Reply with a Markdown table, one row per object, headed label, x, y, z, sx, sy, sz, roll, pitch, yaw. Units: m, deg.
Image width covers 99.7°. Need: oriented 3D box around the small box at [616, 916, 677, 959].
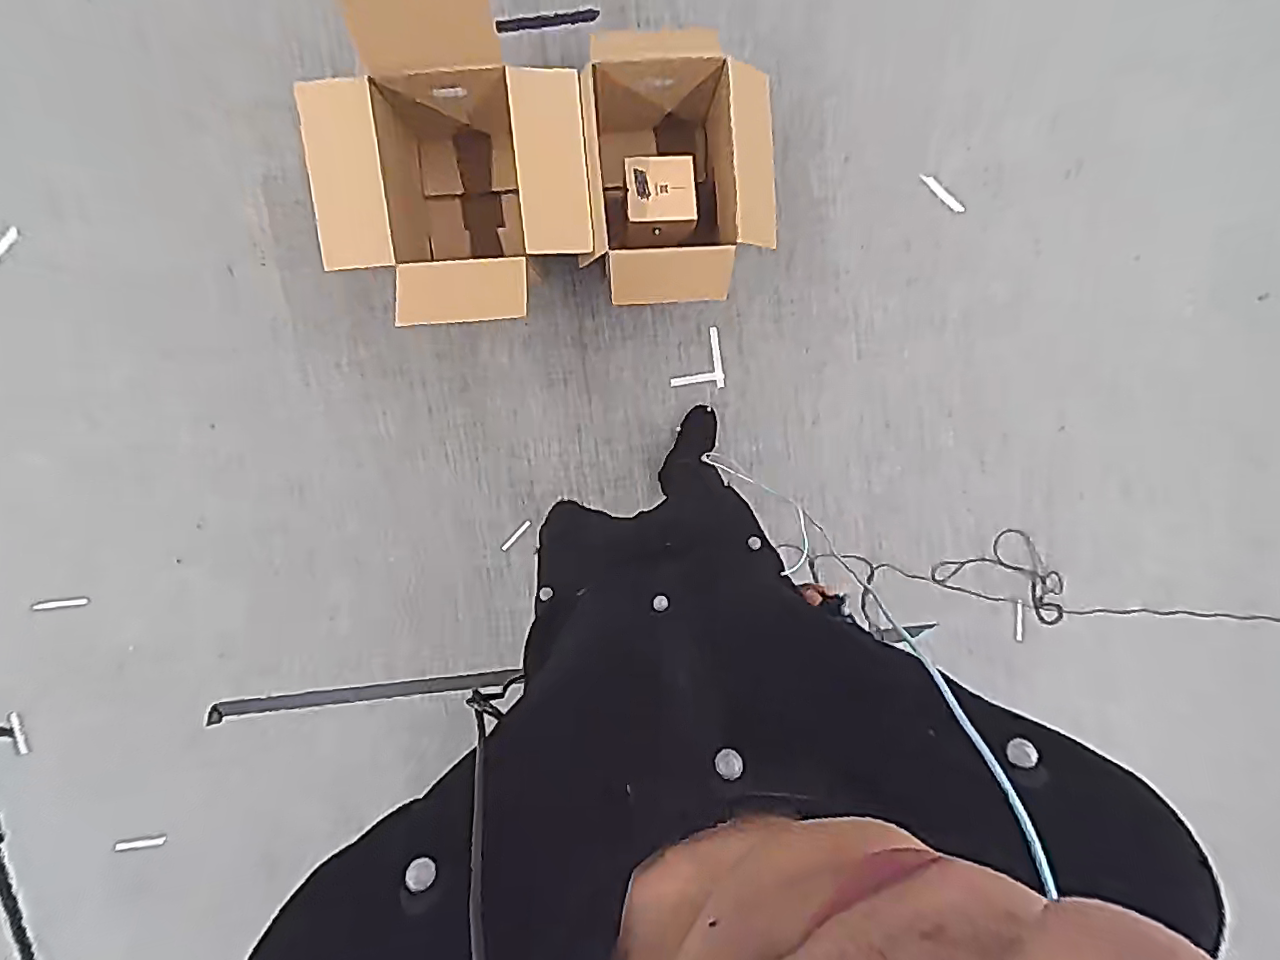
| label | x | y | z | sx | sy | sz | roll | pitch | yaw |
| --- | --- | --- | --- | --- | --- | --- | --- | --- | --- |
| small box | 0.022 | 1.462 | 1.622 | 0.179 | 0.176 | 0.168 | -8 | 98 | -1 |
